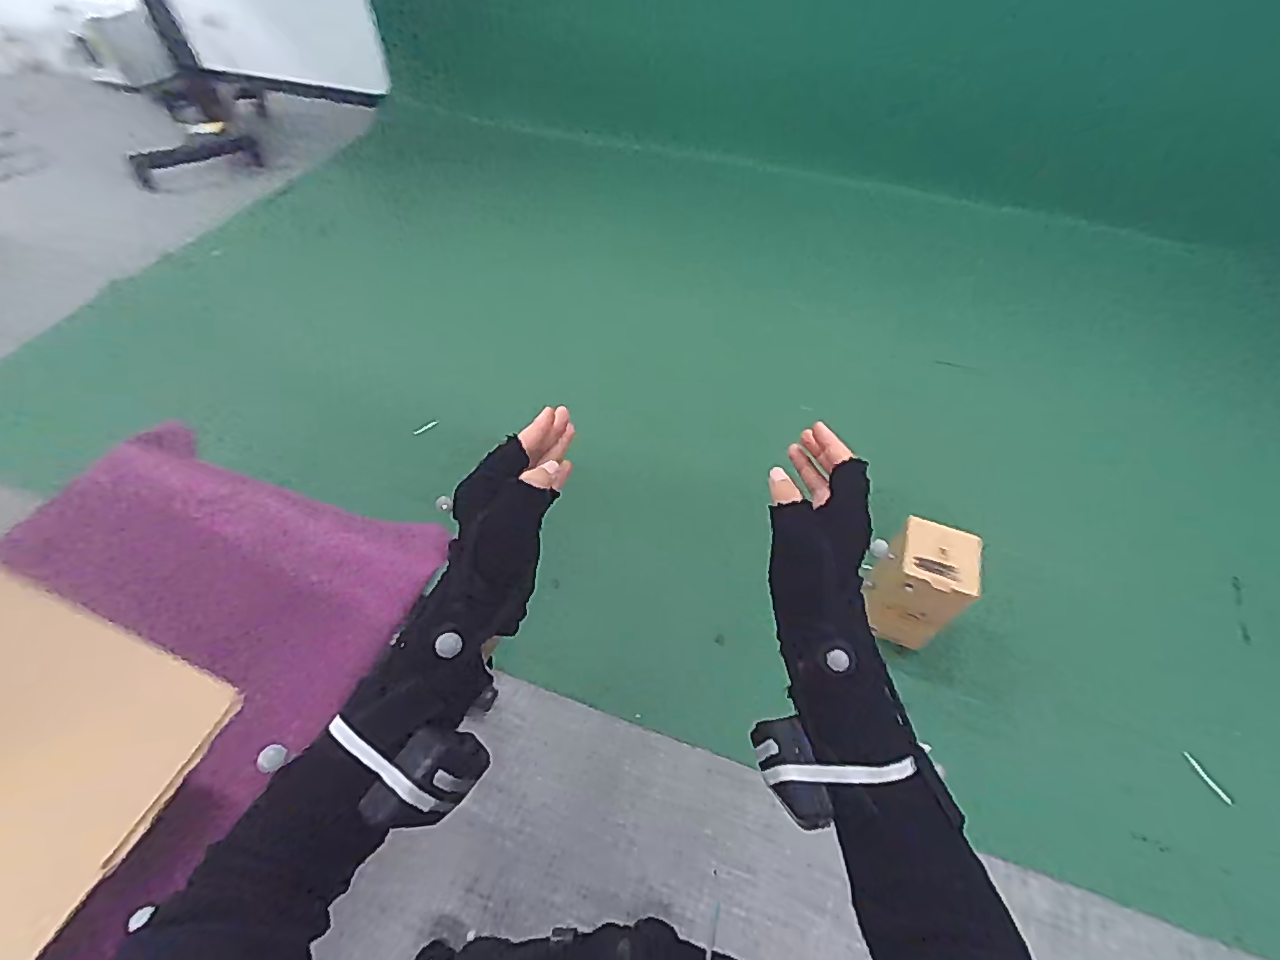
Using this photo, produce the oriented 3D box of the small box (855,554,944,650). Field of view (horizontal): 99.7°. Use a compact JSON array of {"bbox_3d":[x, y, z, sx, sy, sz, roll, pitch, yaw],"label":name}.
[{"bbox_3d":[0.703,0.338,1.476,0.168,0.176,0.179,19,54,12],"label":"small box"}]
